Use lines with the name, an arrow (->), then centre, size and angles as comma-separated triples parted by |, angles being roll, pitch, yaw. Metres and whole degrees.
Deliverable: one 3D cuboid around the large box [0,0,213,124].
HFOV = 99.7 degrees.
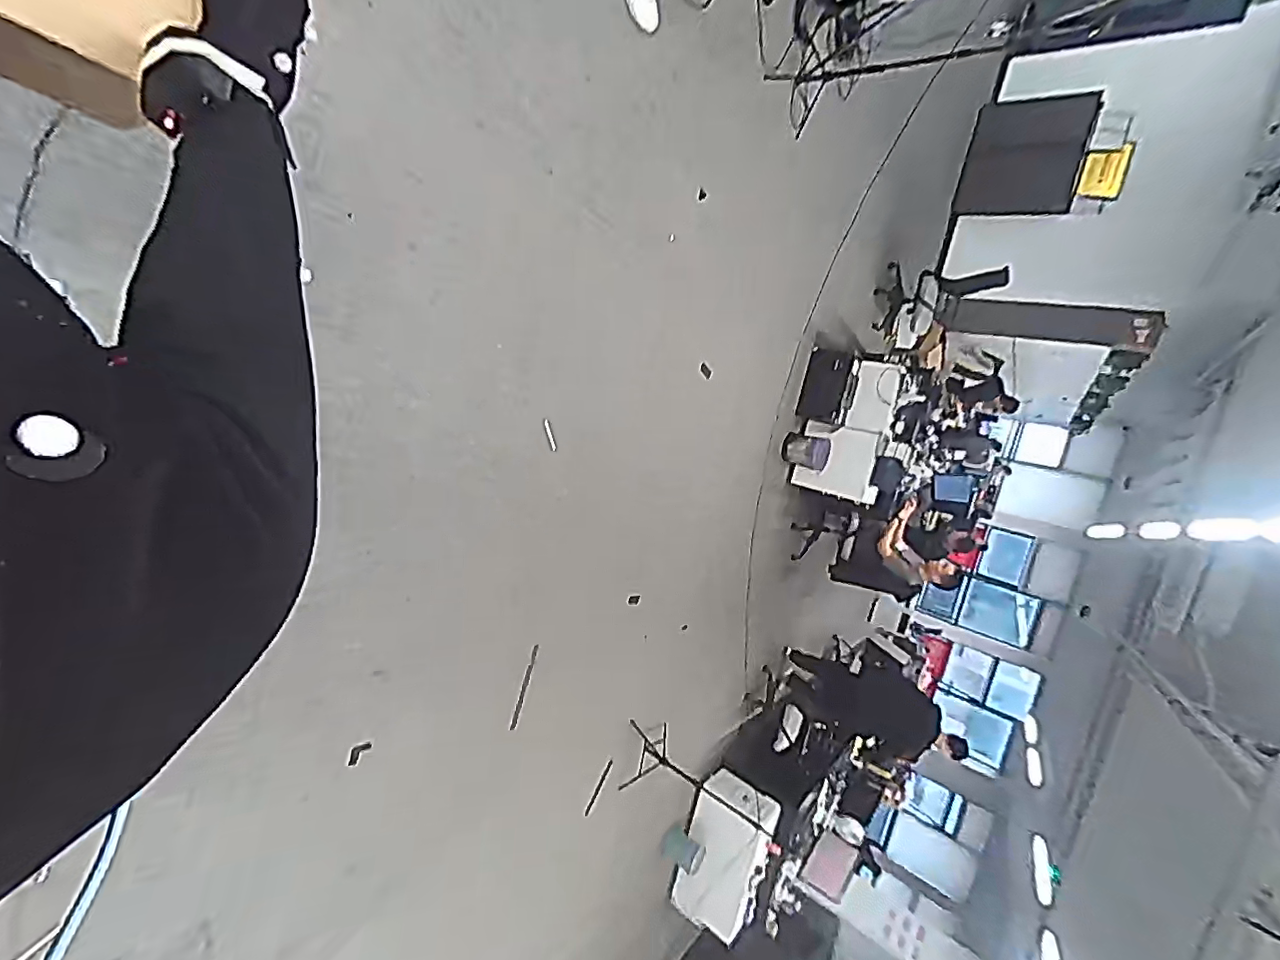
large box -> -0.571, -0.526, 0.373 | 0.408, 0.320, 0.320 | 8, 103, -54
